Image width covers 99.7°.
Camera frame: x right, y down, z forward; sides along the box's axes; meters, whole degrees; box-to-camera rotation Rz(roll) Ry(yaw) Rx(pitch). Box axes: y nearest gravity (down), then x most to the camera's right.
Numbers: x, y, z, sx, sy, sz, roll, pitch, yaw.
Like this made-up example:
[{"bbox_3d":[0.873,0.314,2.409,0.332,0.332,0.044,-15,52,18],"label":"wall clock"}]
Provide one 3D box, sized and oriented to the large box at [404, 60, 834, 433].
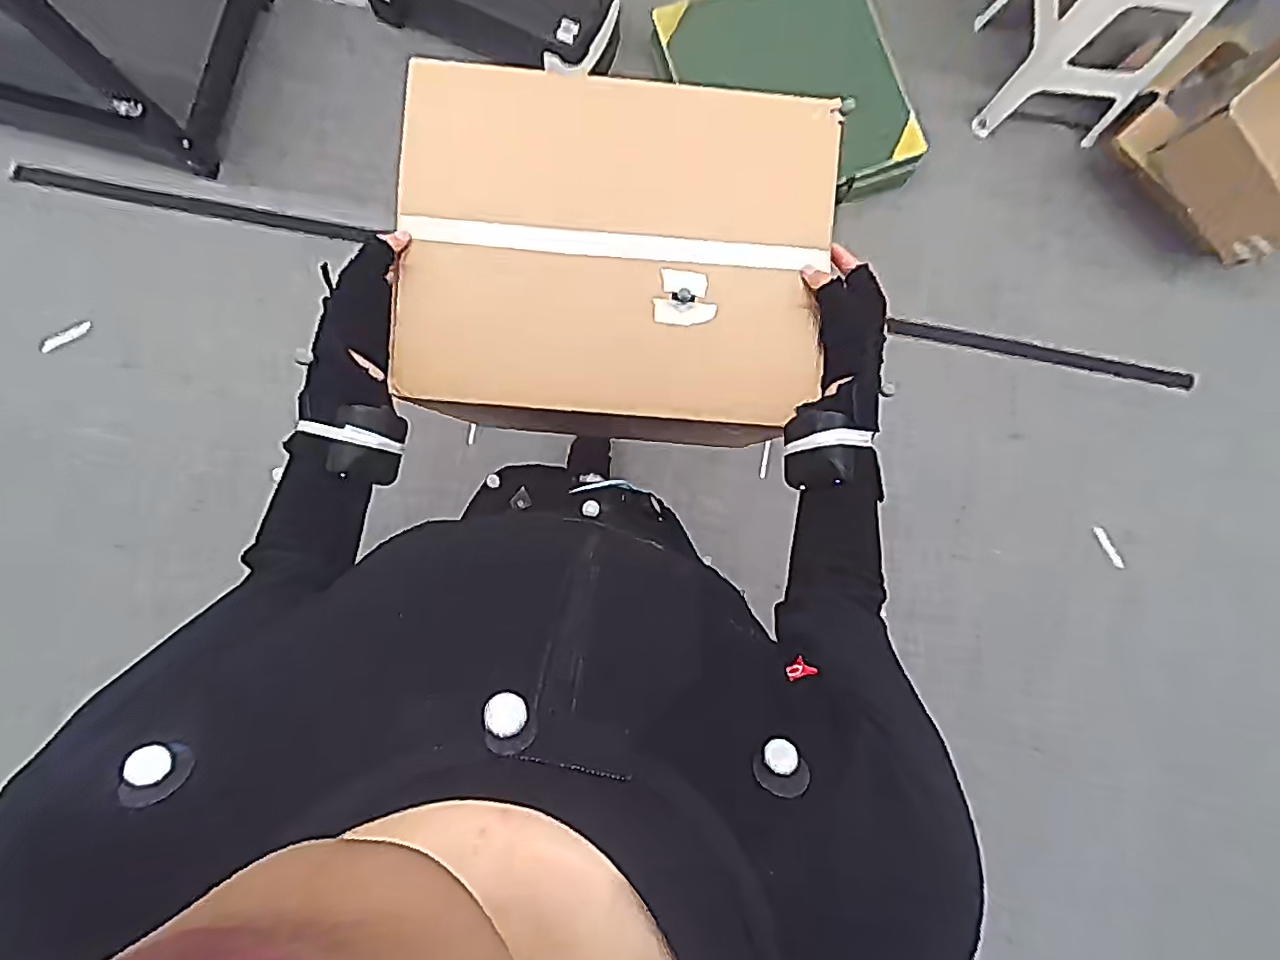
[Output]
[{"bbox_3d":[-0.026,-0.234,0.668,0.408,0.320,0.320,5,91,-3],"label":"large box"}]
